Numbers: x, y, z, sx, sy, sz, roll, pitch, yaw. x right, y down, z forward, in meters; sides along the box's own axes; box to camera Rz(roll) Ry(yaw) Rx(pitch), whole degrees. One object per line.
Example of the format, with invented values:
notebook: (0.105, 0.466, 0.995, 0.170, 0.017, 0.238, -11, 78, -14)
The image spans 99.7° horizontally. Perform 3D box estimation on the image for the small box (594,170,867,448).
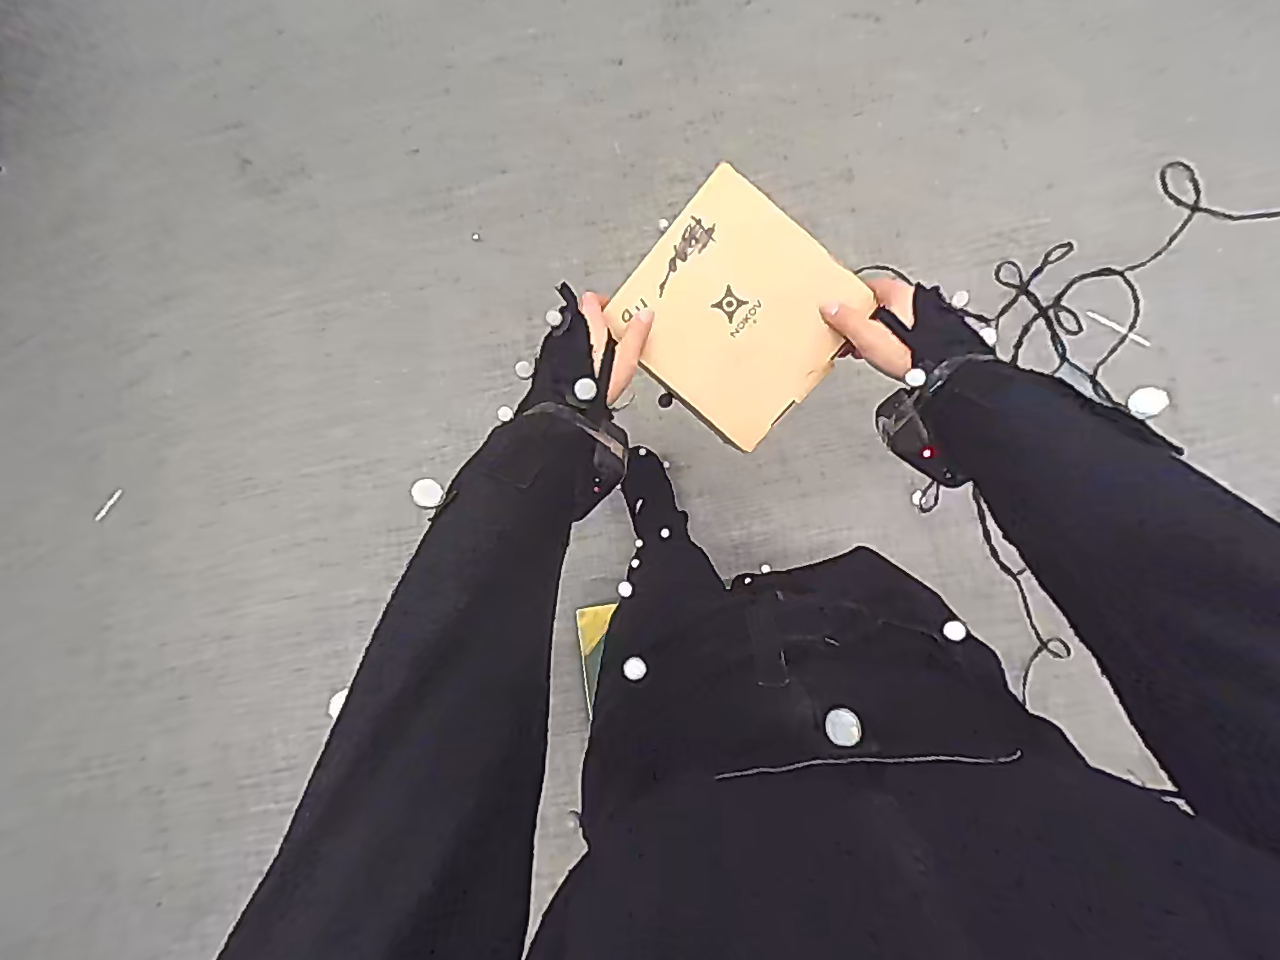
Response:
small box: (0.080, -0.154, 0.539, 0.179, 0.176, 0.168, 41, 97, -3)
